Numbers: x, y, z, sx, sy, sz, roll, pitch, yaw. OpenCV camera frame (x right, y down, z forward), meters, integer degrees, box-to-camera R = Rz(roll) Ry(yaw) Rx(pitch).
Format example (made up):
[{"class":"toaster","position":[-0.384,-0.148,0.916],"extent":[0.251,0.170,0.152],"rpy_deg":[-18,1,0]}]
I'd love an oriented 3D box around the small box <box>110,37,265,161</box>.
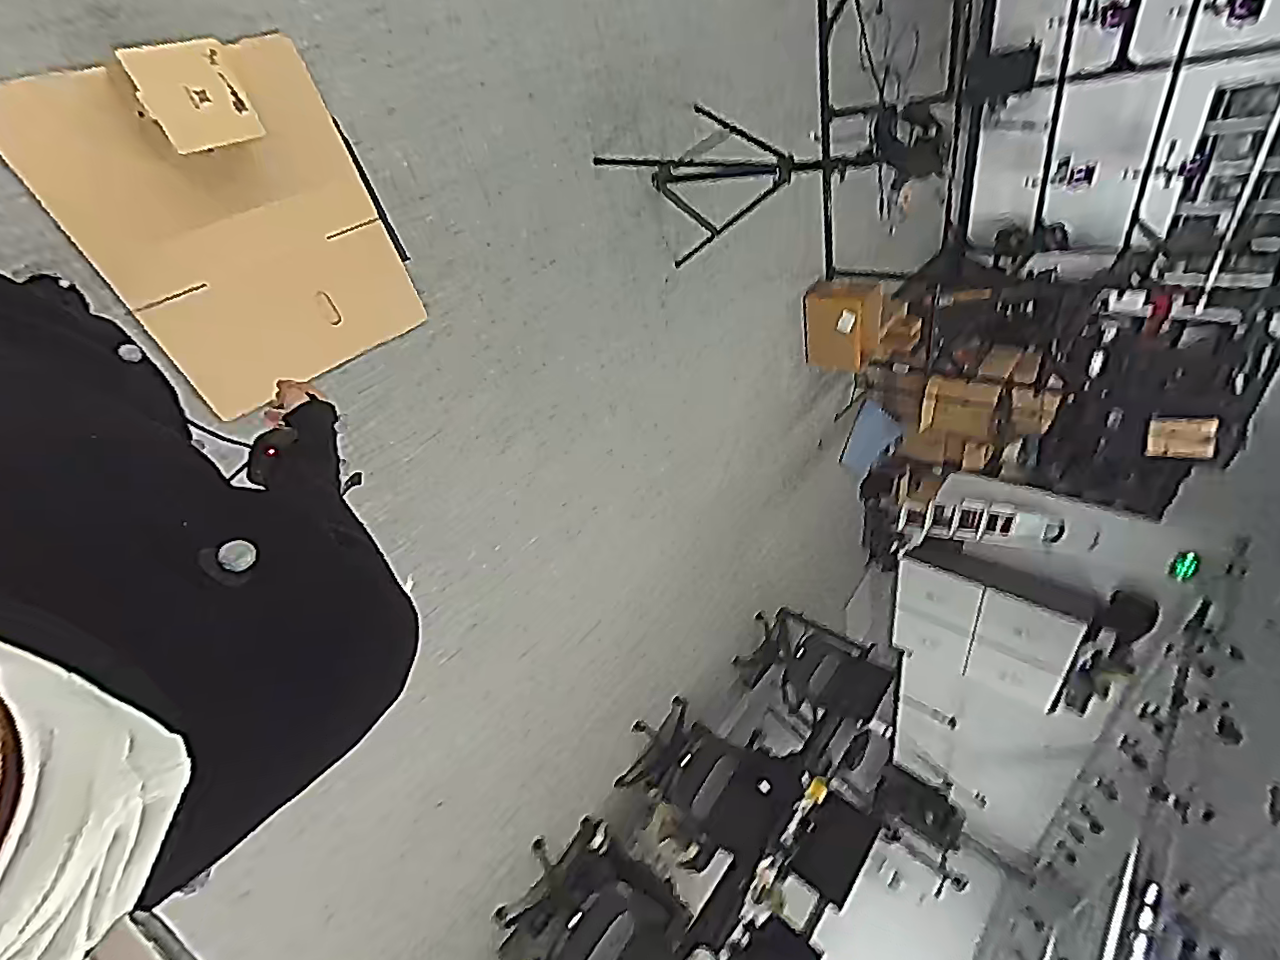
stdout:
[{"class":"small box","position":[-0.904,-0.755,1.082],"extent":[0.179,0.176,0.168],"rpy_deg":[-39,132,-30]}]
